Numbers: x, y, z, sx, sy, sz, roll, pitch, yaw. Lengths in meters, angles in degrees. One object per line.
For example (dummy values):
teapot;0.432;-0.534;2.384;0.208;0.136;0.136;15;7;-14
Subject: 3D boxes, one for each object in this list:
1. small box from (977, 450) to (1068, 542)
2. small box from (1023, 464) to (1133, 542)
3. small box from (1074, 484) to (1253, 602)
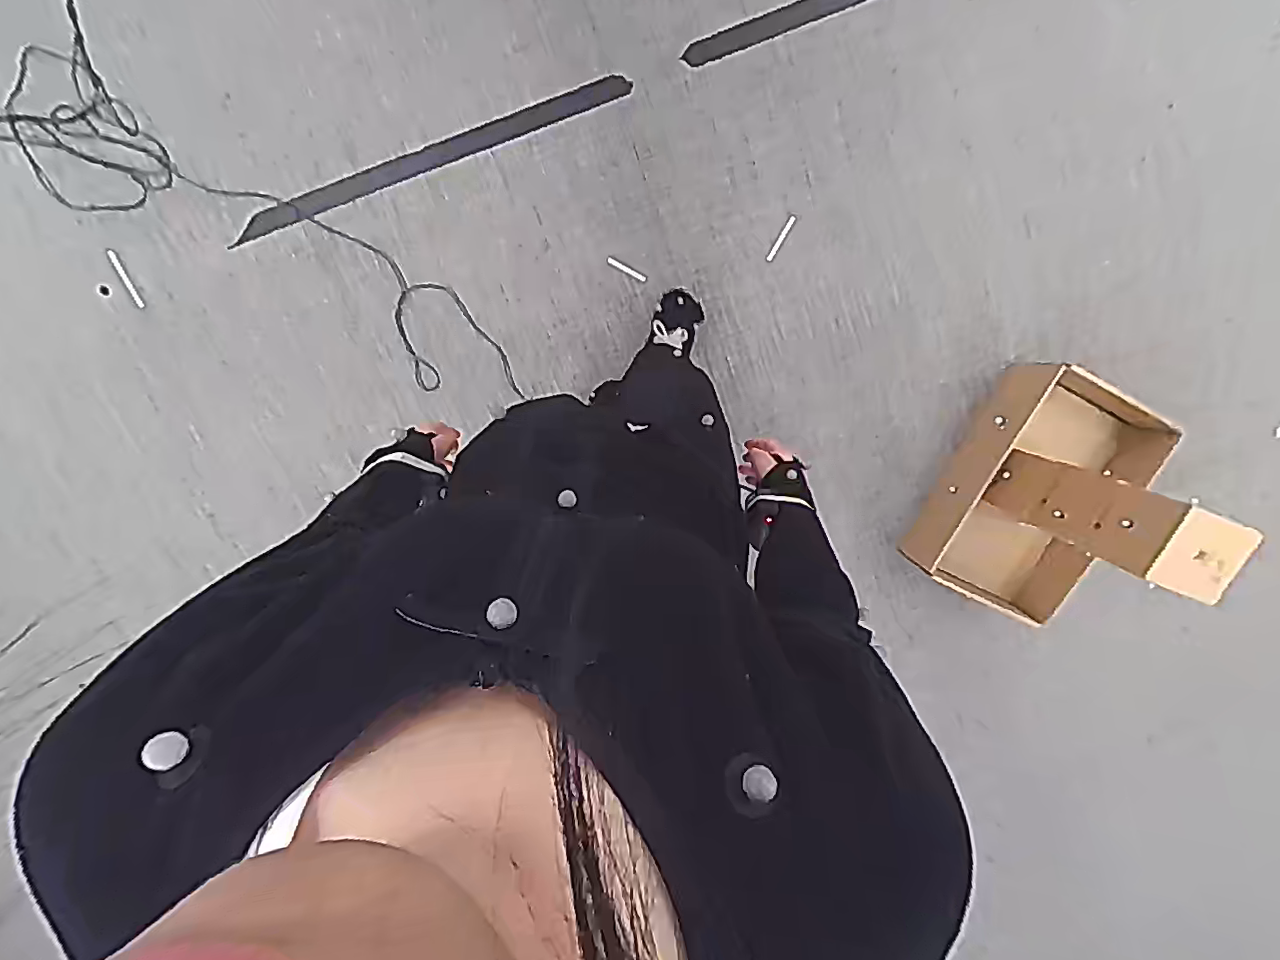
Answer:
small box;1.065;0.035;1.452;0.179;0.176;0.168;25;103;-9
small box;1.079;0.074;1.295;0.179;0.176;0.168;20;105;-10
small box;1.082;0.123;1.137;0.179;0.176;0.168;20;105;-8
